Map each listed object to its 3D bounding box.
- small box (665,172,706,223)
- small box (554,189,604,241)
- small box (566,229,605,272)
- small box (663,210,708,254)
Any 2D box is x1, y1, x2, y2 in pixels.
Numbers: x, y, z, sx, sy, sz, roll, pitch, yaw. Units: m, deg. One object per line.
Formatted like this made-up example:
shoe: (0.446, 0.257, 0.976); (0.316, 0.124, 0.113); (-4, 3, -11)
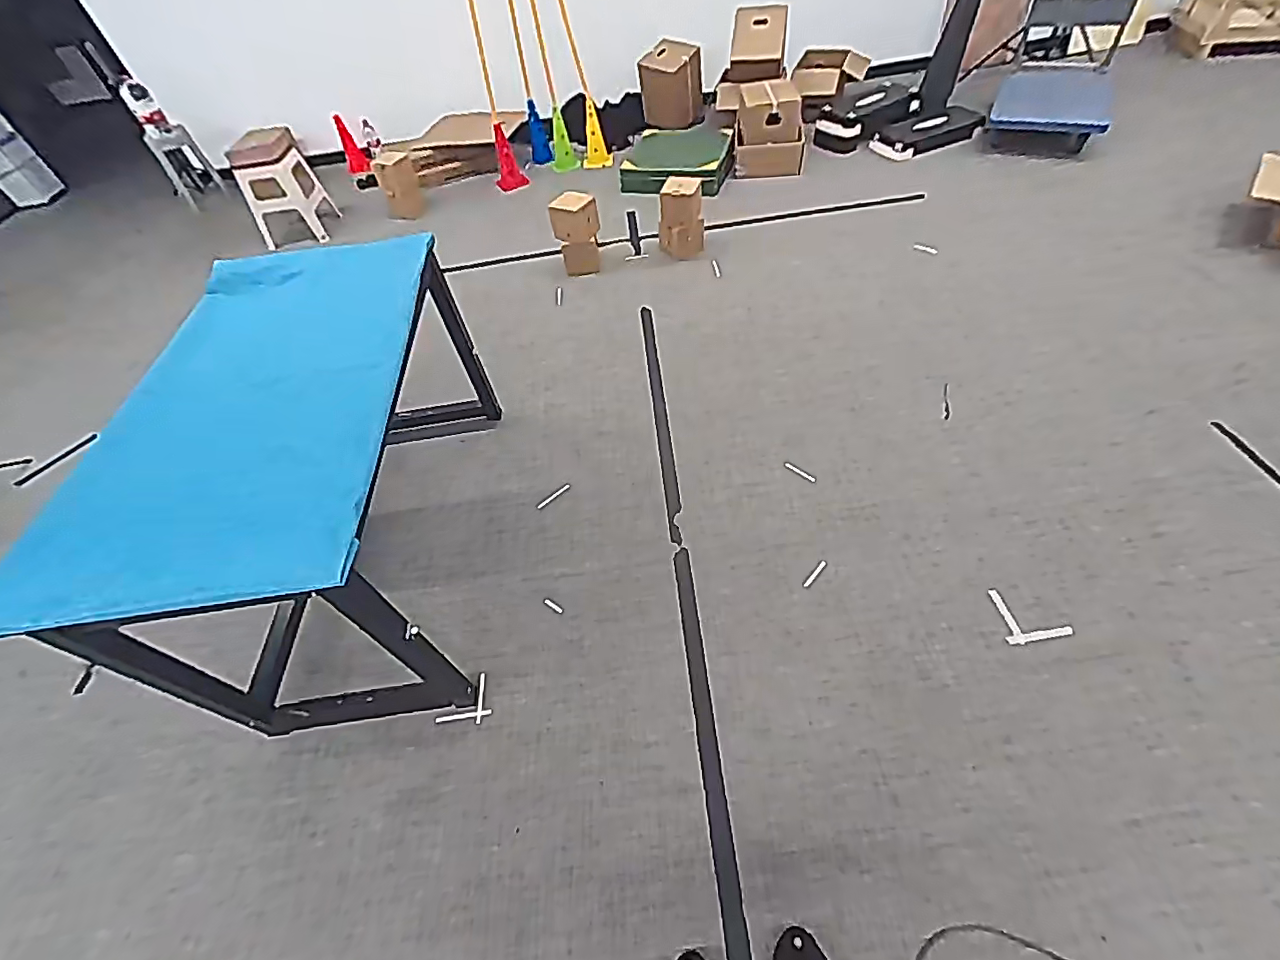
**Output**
small box: (0.228, -1.390, 2.661); (0.168, 0.176, 0.179); (12, 54, 15)
small box: (-0.301, -1.318, 2.678); (0.179, 0.176, 0.168); (20, 57, 21)
small box: (-0.277, -1.205, 2.800); (0.179, 0.176, 0.168); (-7, 50, 4)
small box: (0.240, -1.297, 2.798); (0.179, 0.176, 0.168); (-34, 55, -19)
